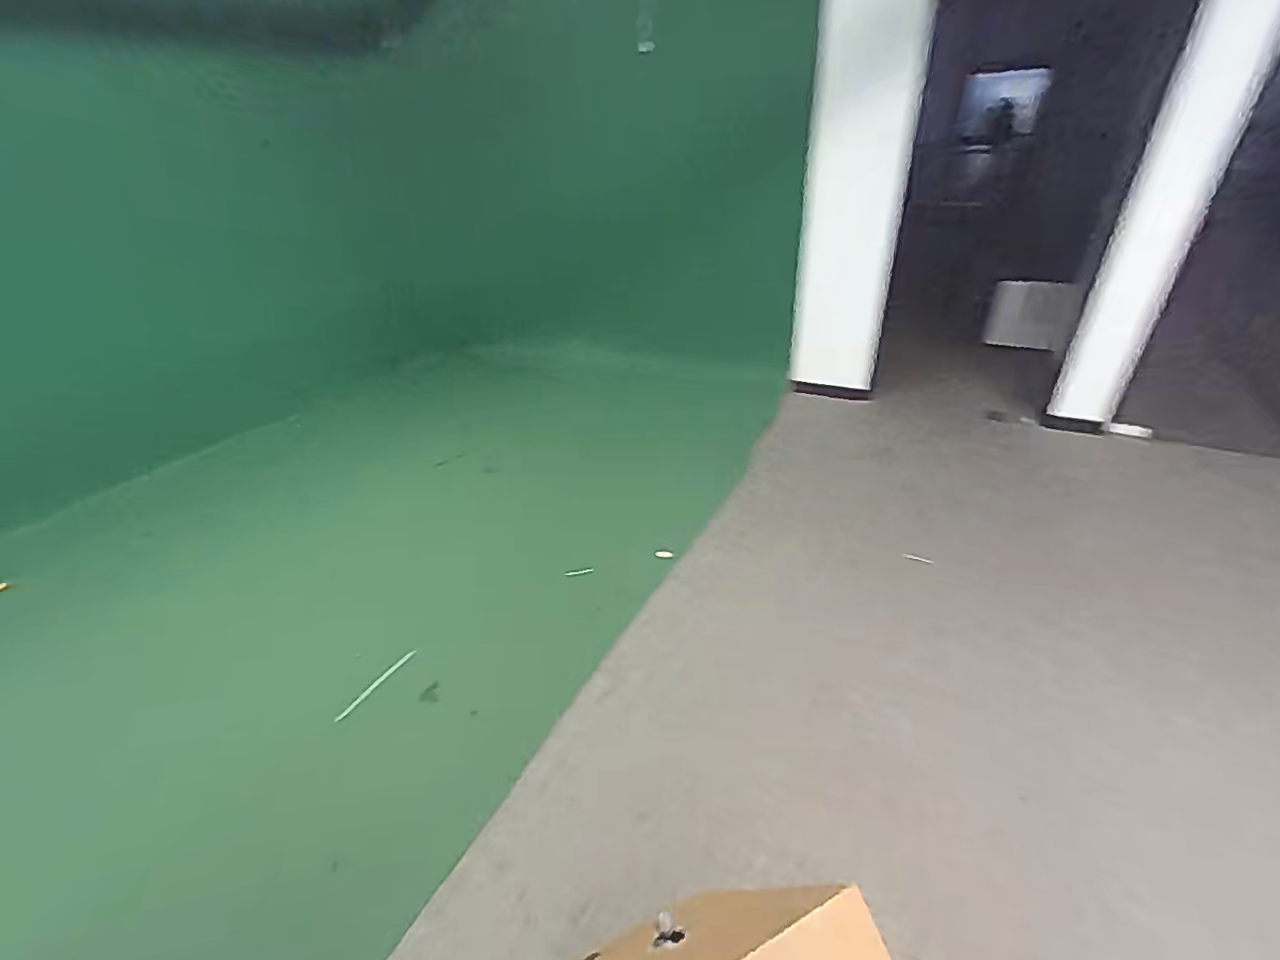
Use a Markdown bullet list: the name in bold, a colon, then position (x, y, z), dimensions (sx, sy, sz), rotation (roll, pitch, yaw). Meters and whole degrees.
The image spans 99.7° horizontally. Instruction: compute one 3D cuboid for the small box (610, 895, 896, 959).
- **small box**: position (0.047, 0.346, 0.274), dimensions (0.168, 0.176, 0.179), rotation (-1, 57, -31)
